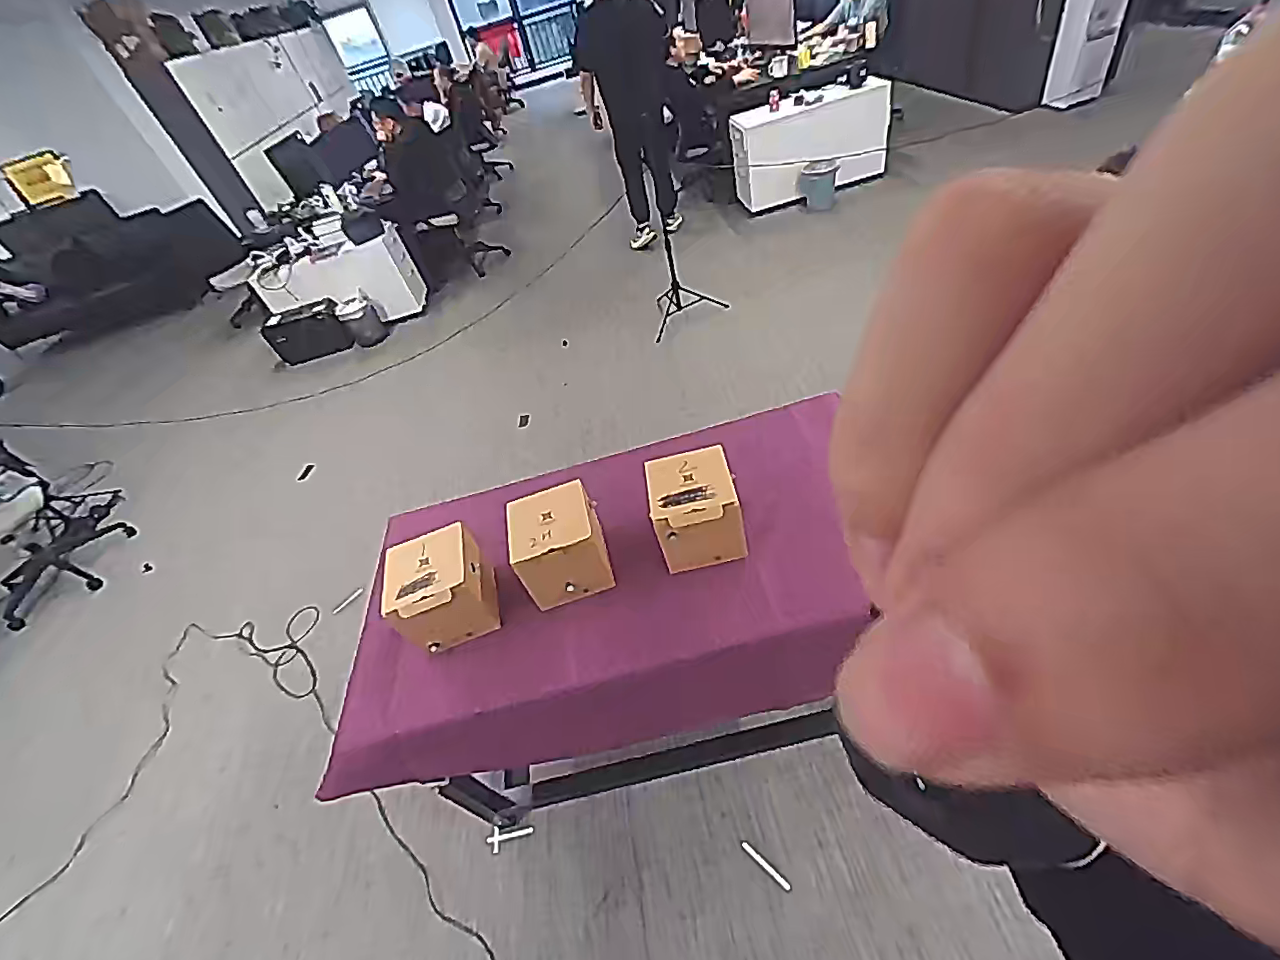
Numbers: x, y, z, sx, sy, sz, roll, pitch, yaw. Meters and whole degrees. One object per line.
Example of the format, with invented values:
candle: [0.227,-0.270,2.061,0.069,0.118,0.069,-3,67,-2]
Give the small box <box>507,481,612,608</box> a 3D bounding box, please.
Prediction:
small box: [-0.168,0.137,1.135,0.168,0.176,0.179,-19,44,0]

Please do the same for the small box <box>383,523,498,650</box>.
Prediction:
small box: [-0.408,0.228,1.123,0.168,0.176,0.179,-21,43,-3]
